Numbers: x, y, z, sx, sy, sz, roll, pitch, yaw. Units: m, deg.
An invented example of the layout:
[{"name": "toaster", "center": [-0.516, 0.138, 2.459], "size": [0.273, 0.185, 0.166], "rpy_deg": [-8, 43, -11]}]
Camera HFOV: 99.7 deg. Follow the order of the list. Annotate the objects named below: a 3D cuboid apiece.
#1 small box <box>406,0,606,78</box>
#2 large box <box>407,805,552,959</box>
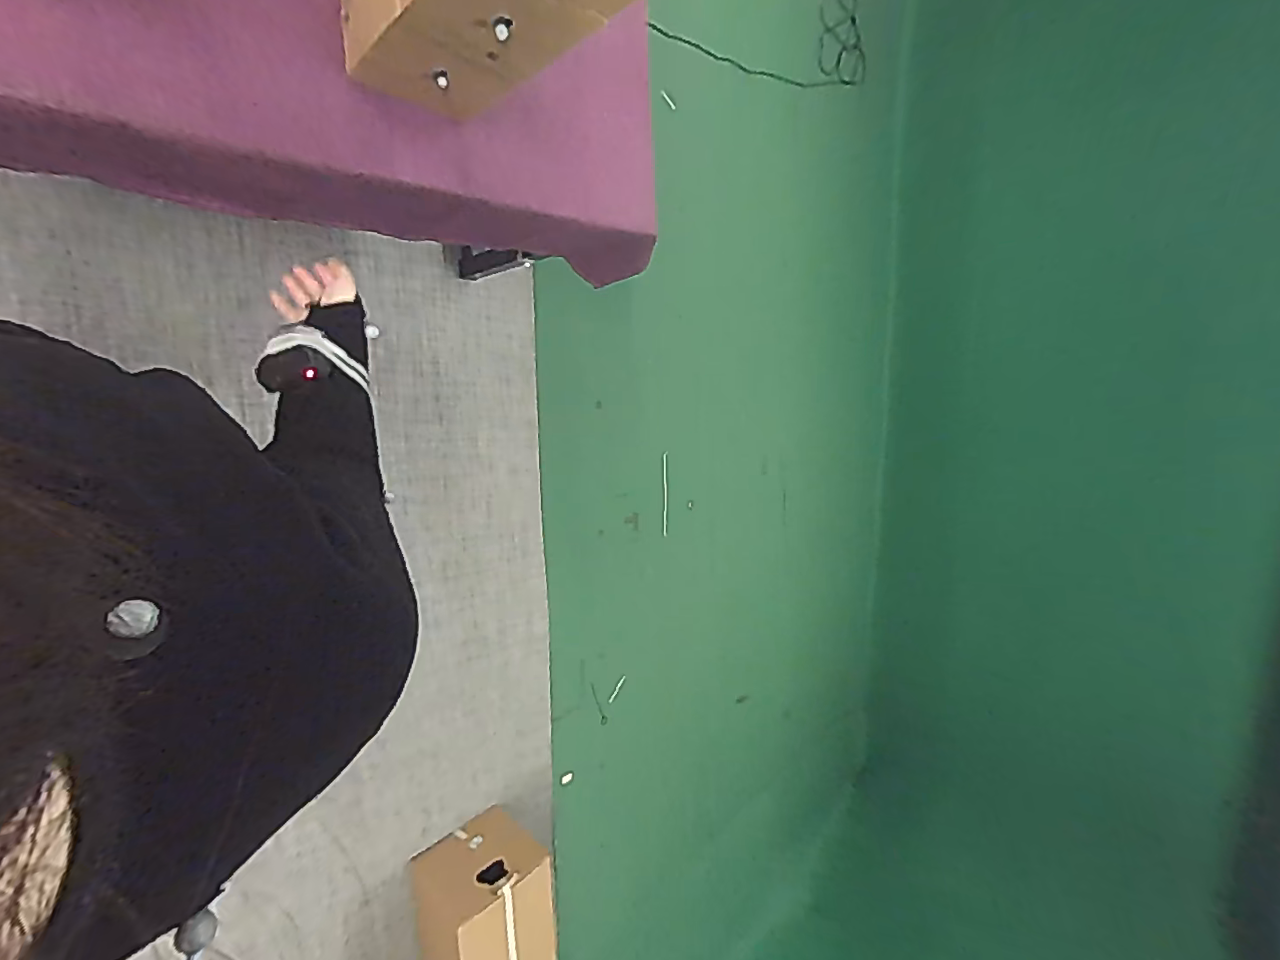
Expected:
[{"name": "small box", "center": [-0.149, -0.587, 0.586], "size": [0.168, 0.176, 0.179], "rpy_deg": [-6, 100, -46]}, {"name": "large box", "center": [-0.504, 1.353, 1.708], "size": [0.320, 0.320, 0.408], "rpy_deg": [-12, 106, -46]}]
